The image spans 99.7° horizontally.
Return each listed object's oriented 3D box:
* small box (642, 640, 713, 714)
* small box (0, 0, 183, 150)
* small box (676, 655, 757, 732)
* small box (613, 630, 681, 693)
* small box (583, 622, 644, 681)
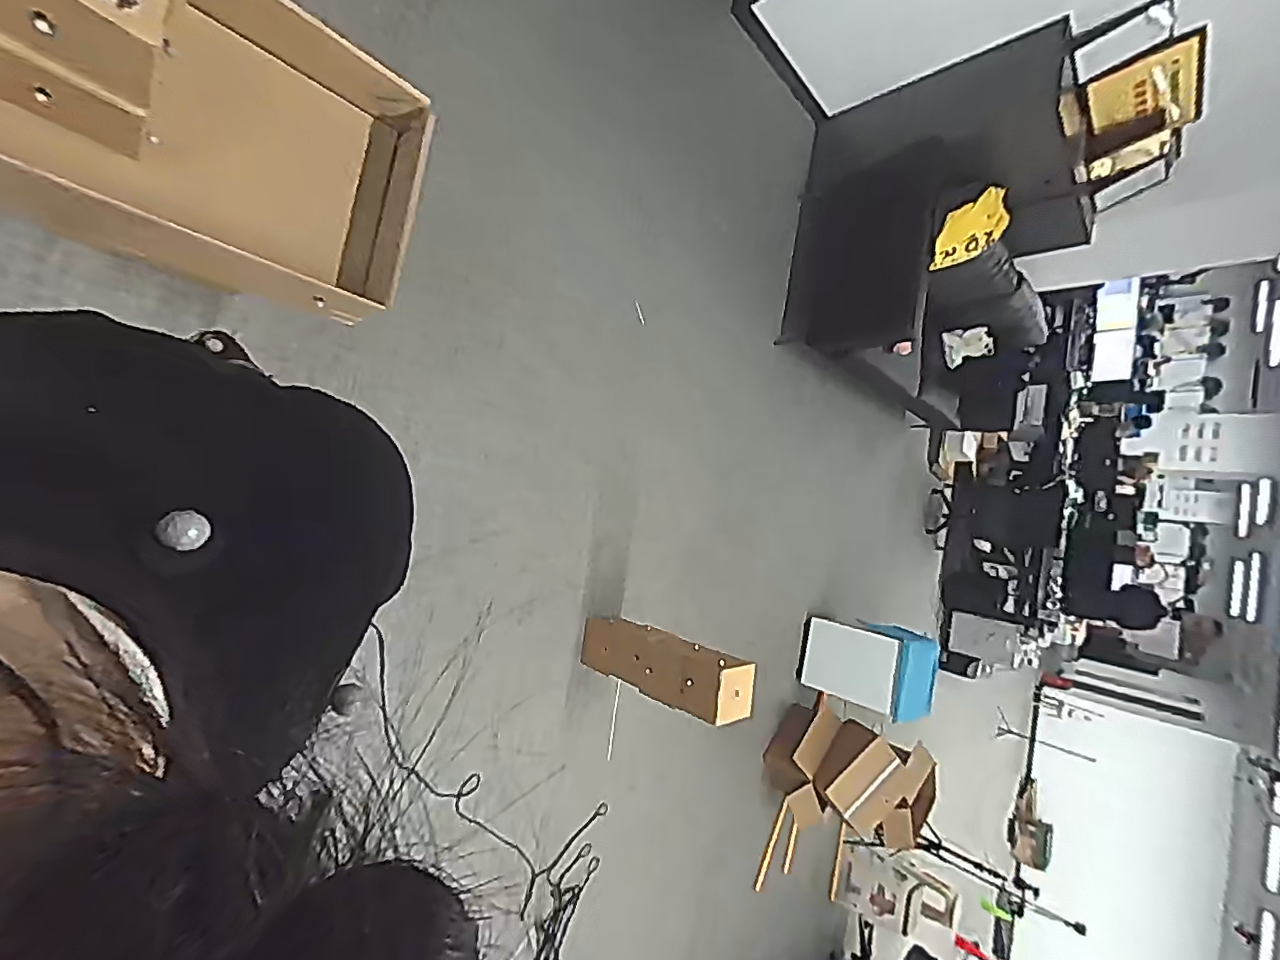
[{"bbox_3d":[0.124,0.648,1.794,0.168,0.176,0.179,9,87,-45],"label":"small box"},{"bbox_3d":[-0.729,-0.562,0.695,0.179,0.176,0.168,17,82,-45],"label":"small box"},{"bbox_3d":[0.238,0.651,1.676,0.179,0.176,0.168,9,86,-43],"label":"small box"},{"bbox_3d":[0.021,0.637,1.920,0.168,0.176,0.179,12,85,-44],"label":"small box"},{"bbox_3d":[-0.096,0.637,2.036,0.168,0.176,0.179,12,85,-45],"label":"small box"}]
